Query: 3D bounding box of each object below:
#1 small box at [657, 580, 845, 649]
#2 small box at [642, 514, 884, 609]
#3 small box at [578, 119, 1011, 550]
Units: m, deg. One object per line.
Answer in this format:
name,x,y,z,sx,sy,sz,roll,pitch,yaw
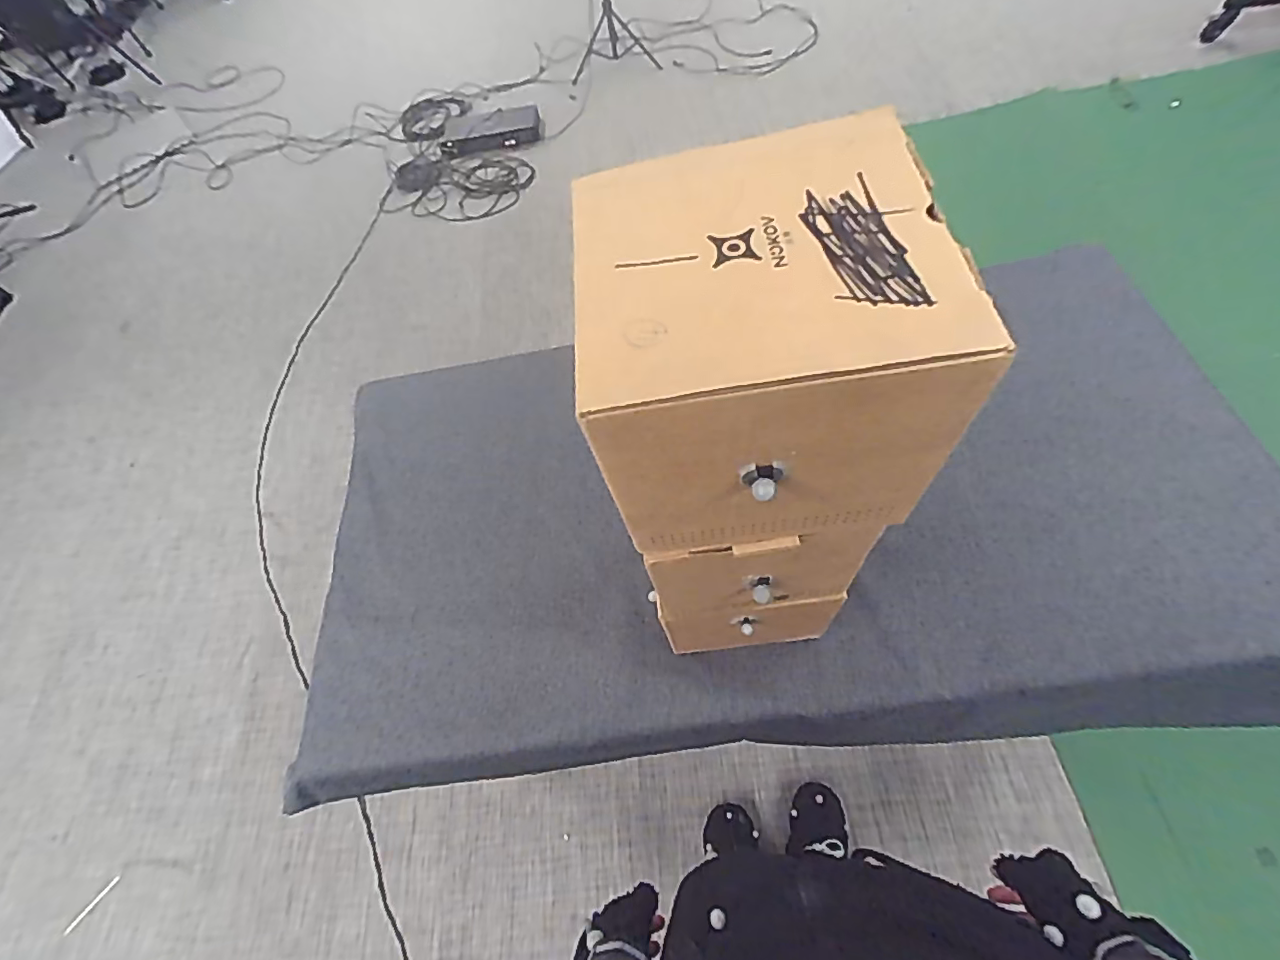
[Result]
small box,0.110,0.086,0.611,0.179,0.176,0.168,-8,61,4
small box,0.086,0.006,0.471,0.168,0.176,0.179,-10,62,4
small box,0.068,-0.069,0.324,0.179,0.176,0.168,-8,61,7
